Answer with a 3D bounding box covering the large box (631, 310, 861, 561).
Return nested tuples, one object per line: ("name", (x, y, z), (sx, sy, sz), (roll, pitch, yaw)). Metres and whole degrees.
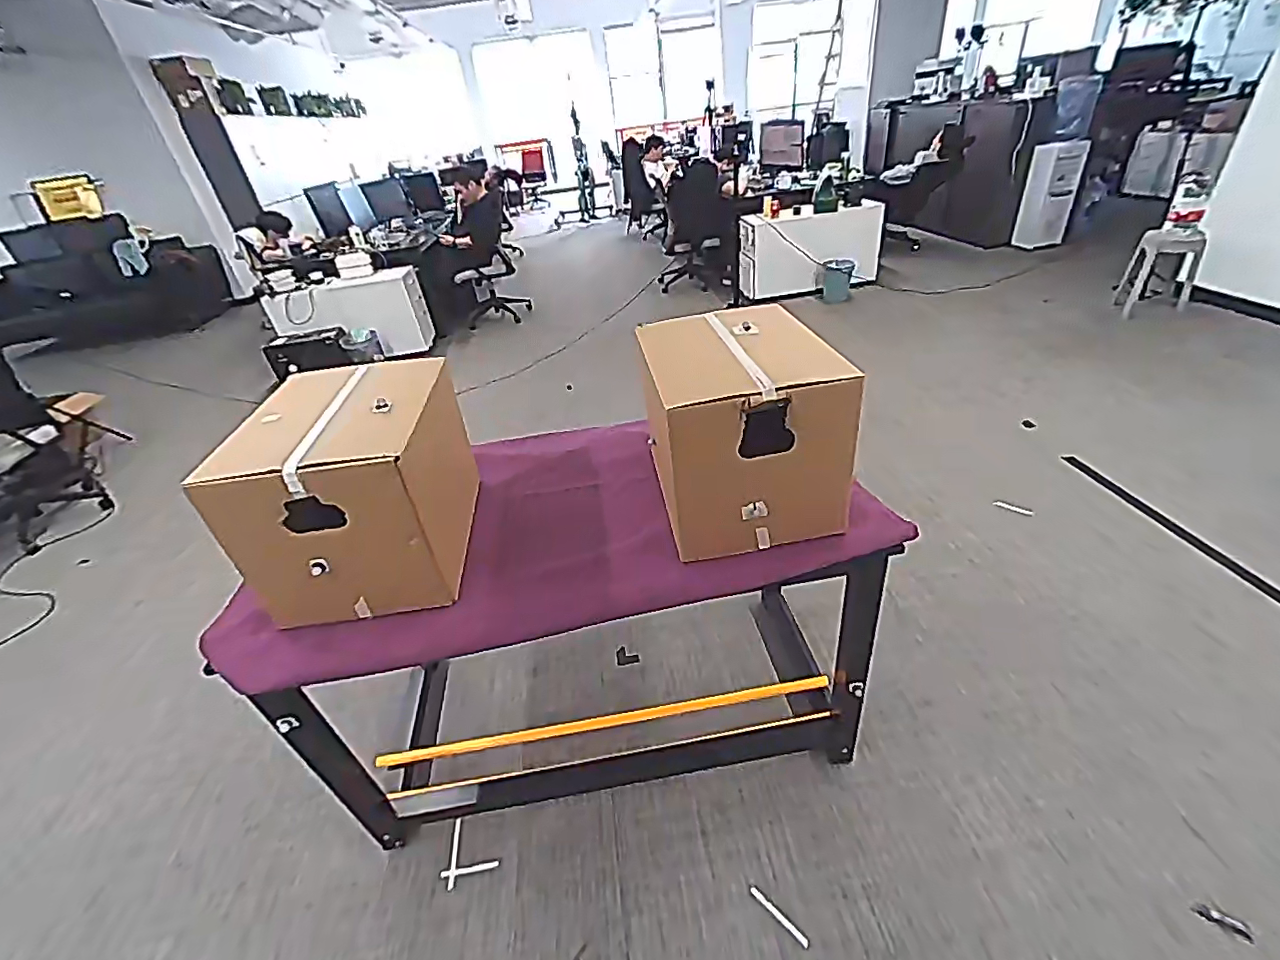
("large box", (0.179, -0.105, 1.054), (0.320, 0.320, 0.408), (-9, 33, -3))
